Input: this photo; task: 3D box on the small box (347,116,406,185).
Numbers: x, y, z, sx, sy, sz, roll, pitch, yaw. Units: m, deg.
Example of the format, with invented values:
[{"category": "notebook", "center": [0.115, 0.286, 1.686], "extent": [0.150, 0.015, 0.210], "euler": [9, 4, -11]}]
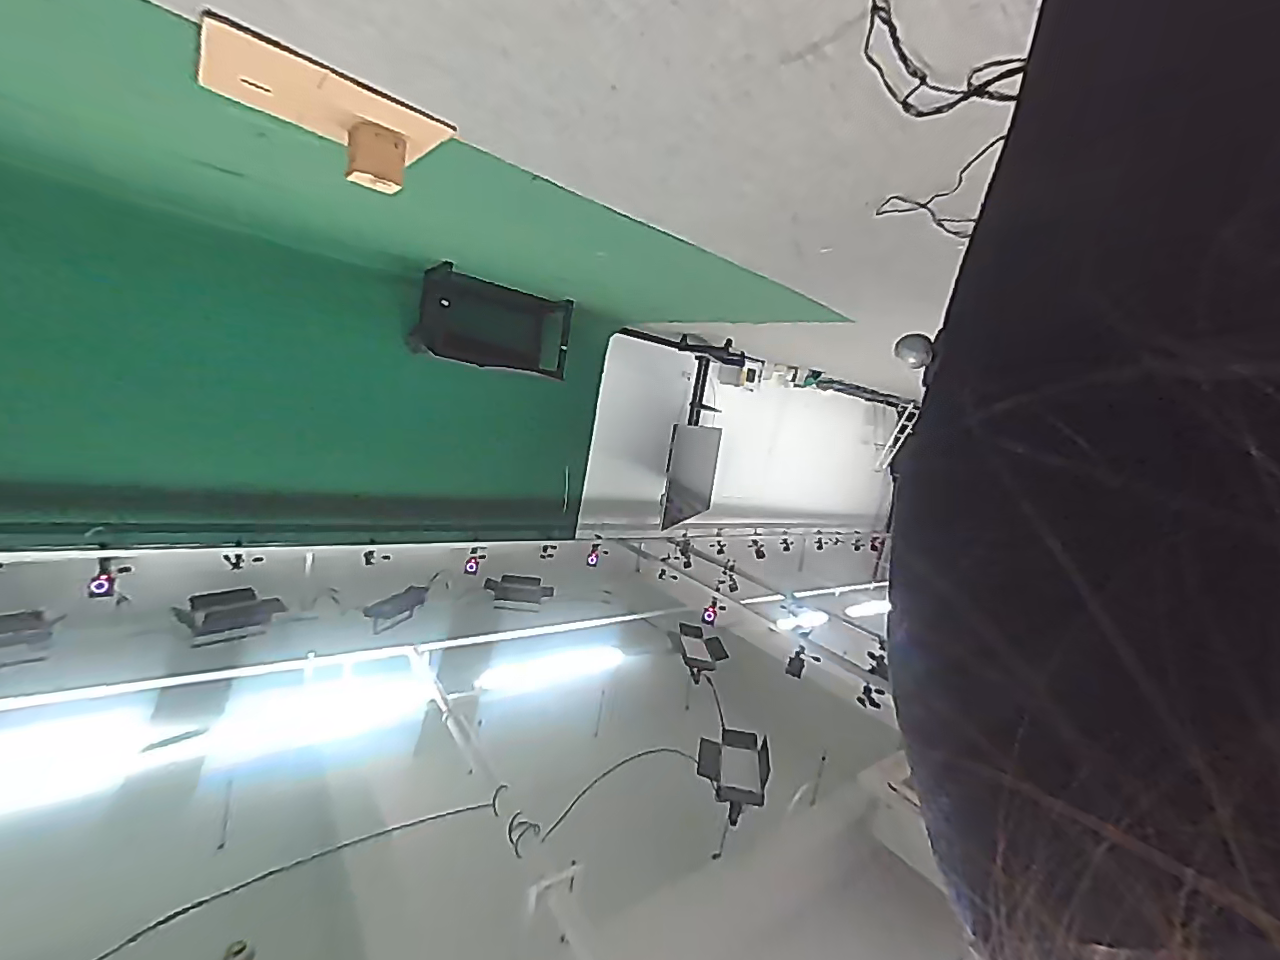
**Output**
[{"category": "small box", "center": [-1.003, -1.252, 2.056], "extent": [0.168, 0.176, 0.179], "euler": [1, -167, -42]}]
